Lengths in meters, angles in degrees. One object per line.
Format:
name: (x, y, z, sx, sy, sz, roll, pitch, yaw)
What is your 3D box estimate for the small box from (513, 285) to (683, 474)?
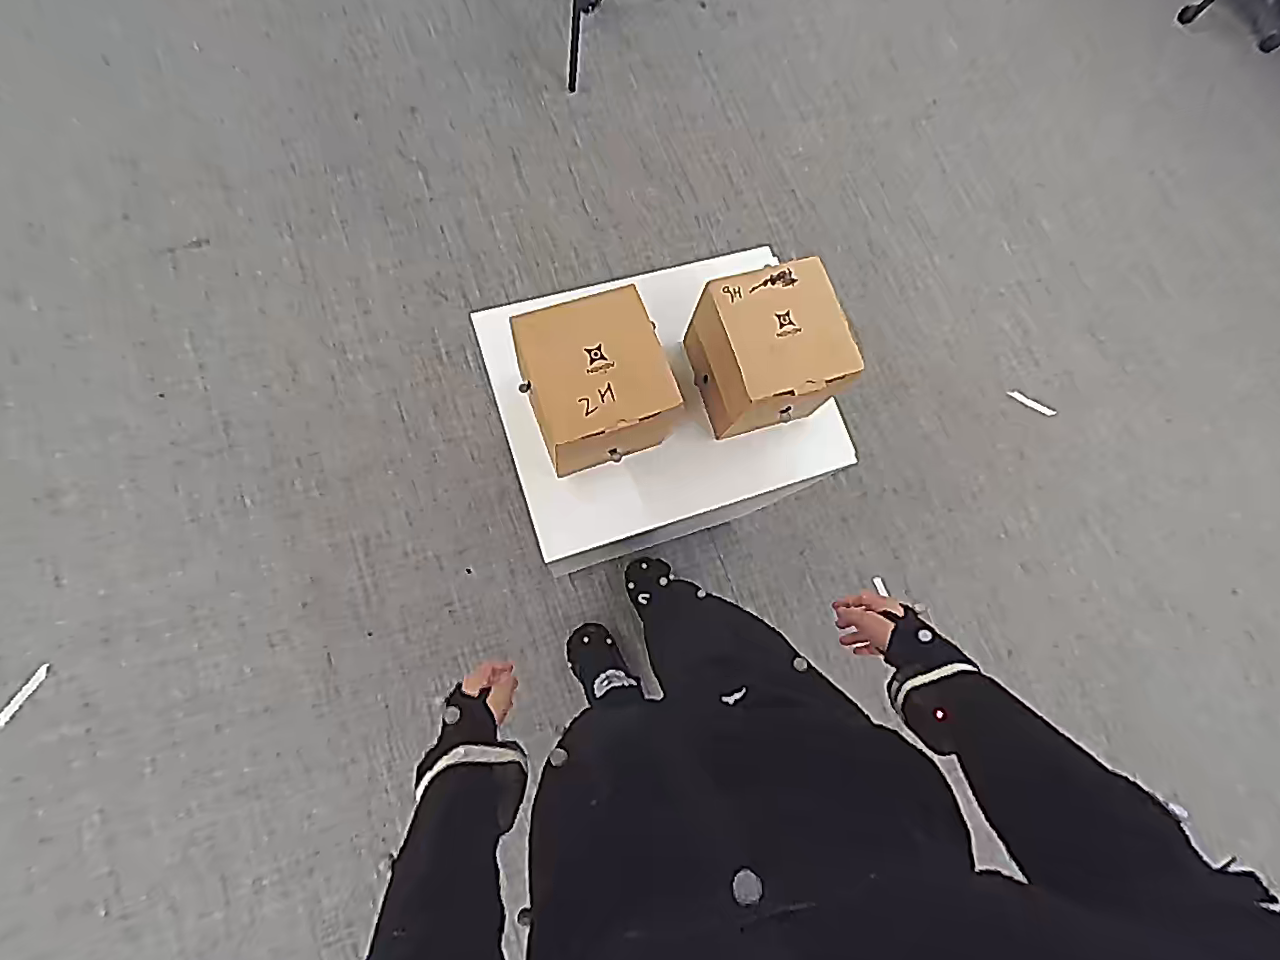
small box: (-0.062, -0.126, 0.732, 0.168, 0.176, 0.179, -19, 81, -11)

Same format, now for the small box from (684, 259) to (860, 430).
small box: (0.177, -0.181, 0.777, 0.168, 0.176, 0.179, -15, 81, -11)
